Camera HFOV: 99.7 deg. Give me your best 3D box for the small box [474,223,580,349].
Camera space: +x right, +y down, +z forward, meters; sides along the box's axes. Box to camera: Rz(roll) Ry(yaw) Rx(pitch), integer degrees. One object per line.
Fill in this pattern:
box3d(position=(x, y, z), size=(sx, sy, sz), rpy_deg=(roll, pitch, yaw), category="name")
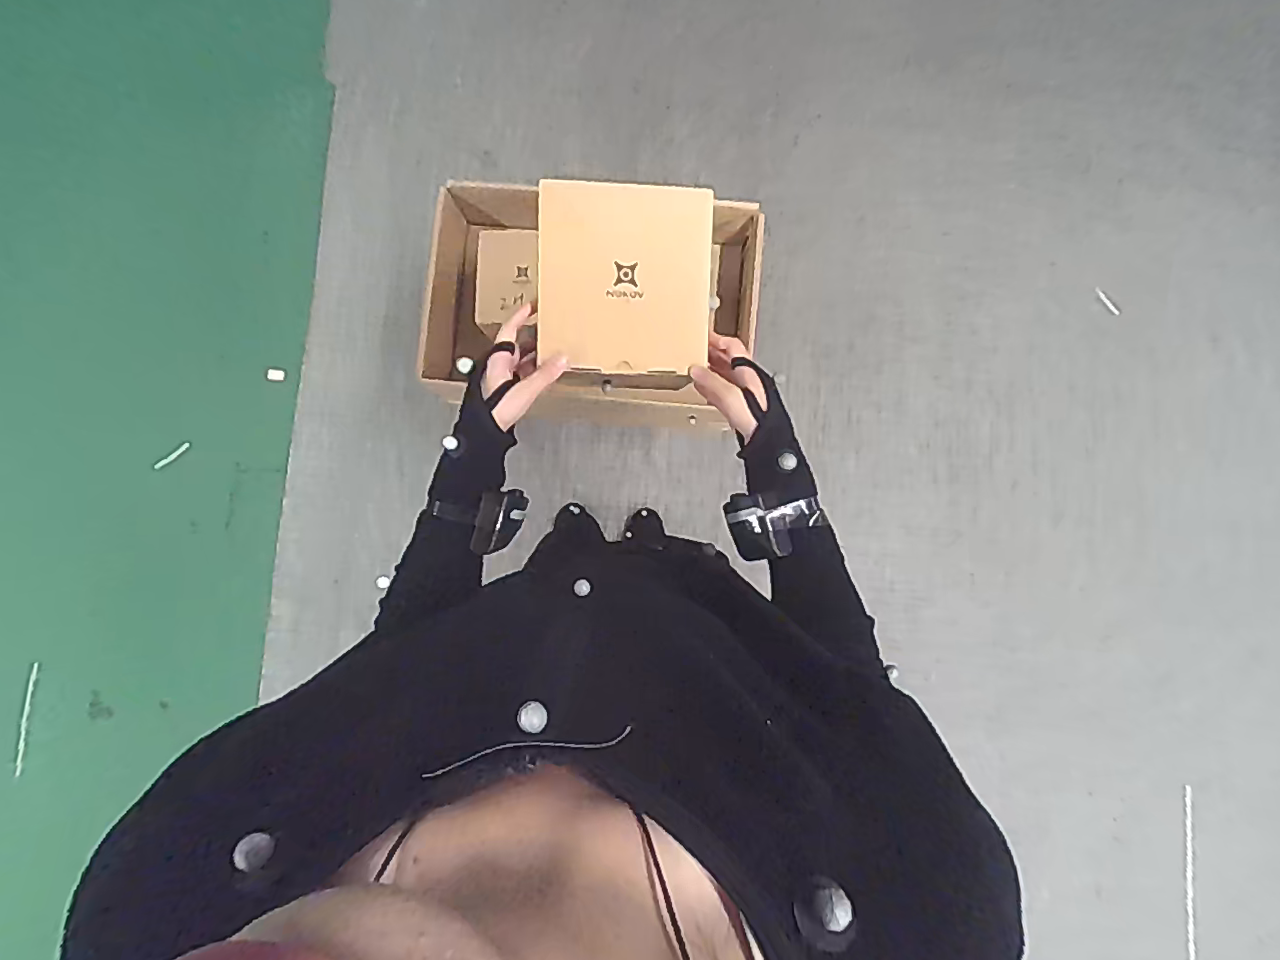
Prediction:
box3d(position=(-0.210, -0.367, 1.044), size=(0.168, 0.176, 0.179), rpy_deg=(2, 86, 1), category="small box")
